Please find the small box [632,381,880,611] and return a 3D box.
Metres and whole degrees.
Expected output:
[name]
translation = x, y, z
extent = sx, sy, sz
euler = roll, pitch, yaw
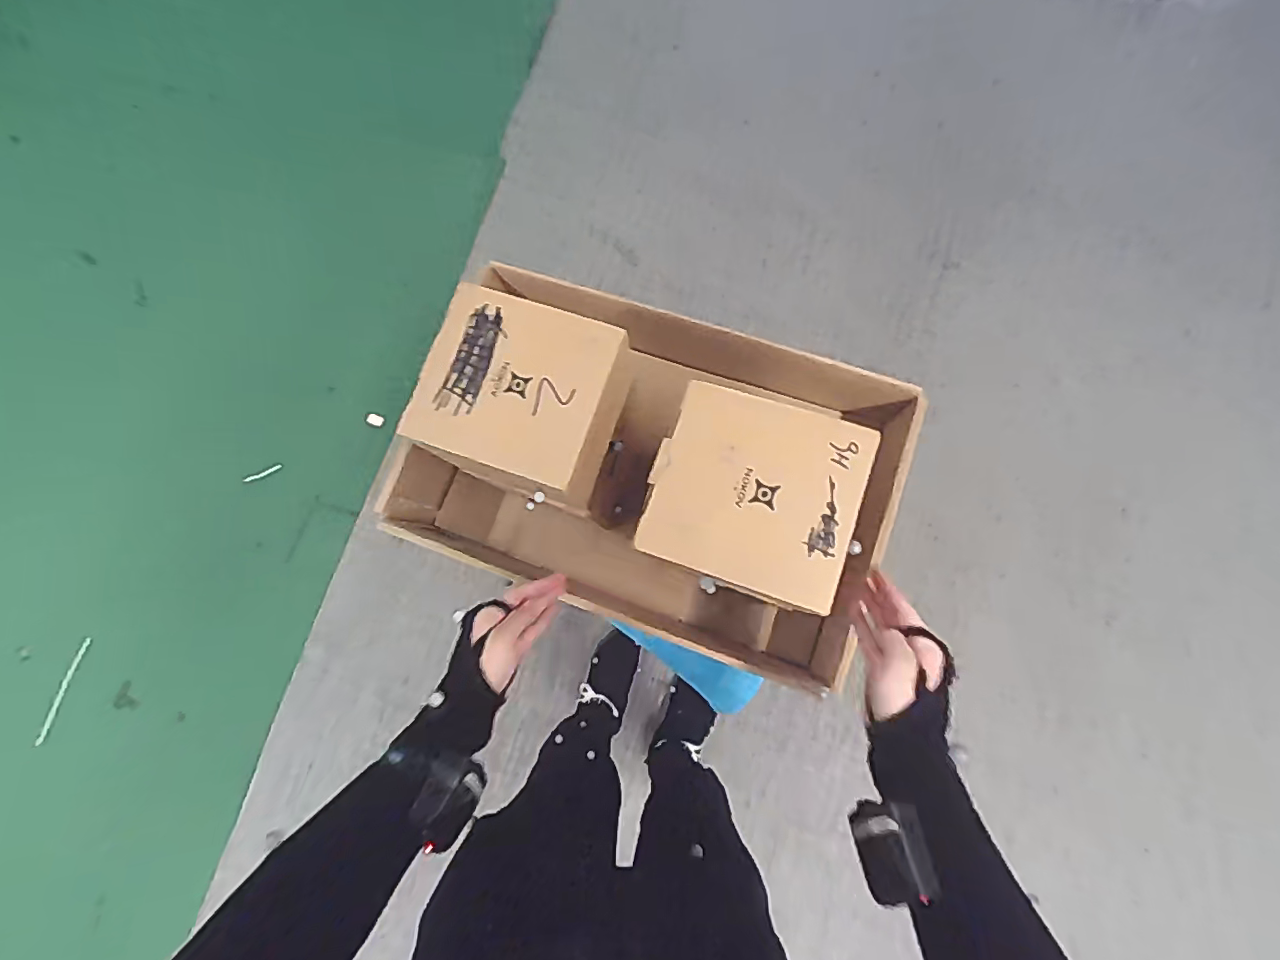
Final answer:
[small box]
translation = 0.111, 0.024, 0.546
extent = 0.179, 0.176, 0.168
euler = 18, 82, 11
